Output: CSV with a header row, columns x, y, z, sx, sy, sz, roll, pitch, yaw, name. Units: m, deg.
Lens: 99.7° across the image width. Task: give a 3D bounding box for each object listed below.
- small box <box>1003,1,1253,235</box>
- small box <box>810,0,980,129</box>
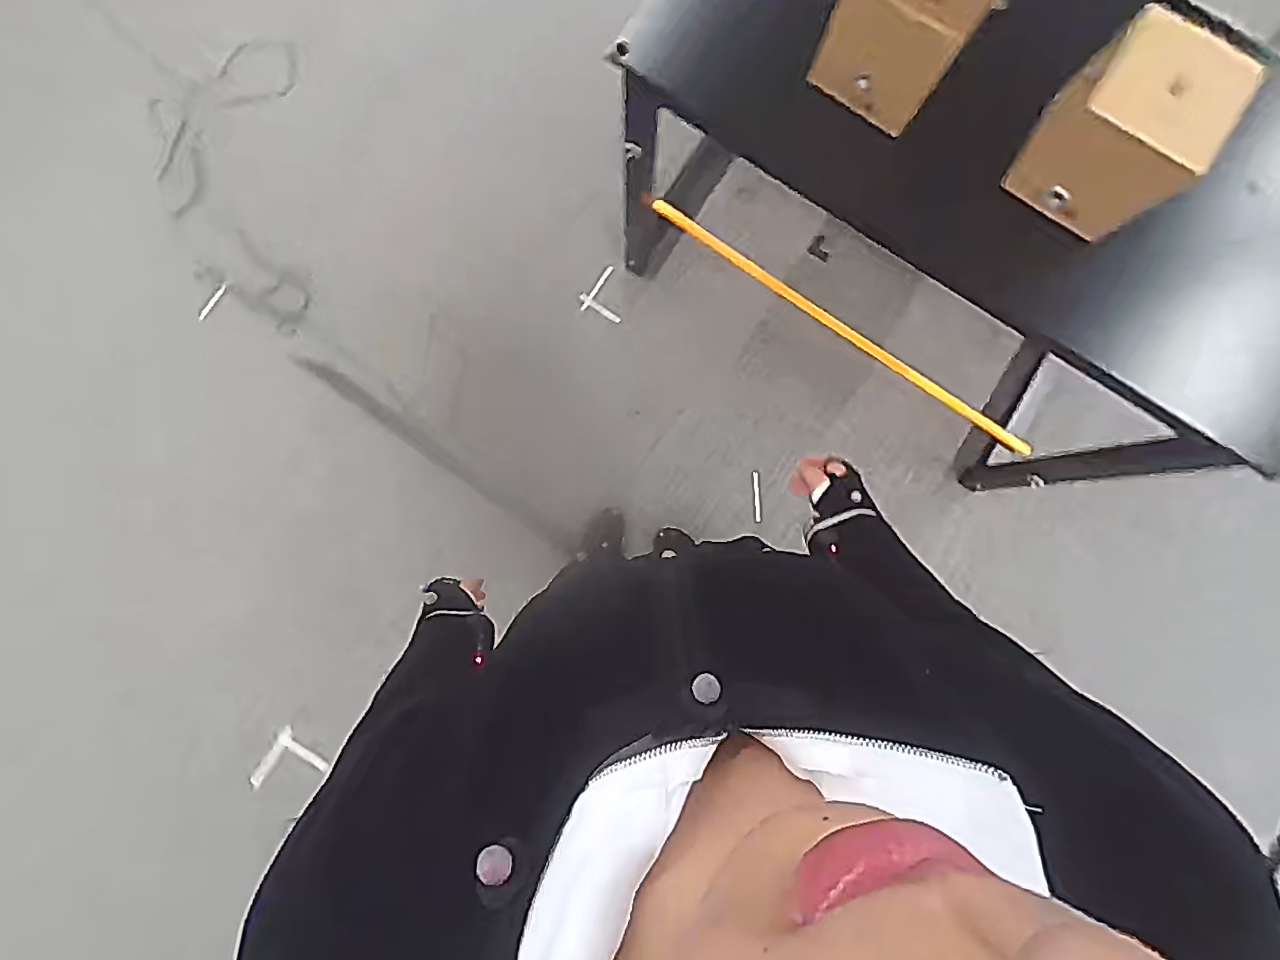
x,y,z,sx,sy,sz,roll,pitch,yaw,name
0.665,-0.493,0.762,0.168,0.176,0.179,32,86,2,small box
0.370,-0.658,0.764,0.168,0.176,0.179,34,86,1,small box
